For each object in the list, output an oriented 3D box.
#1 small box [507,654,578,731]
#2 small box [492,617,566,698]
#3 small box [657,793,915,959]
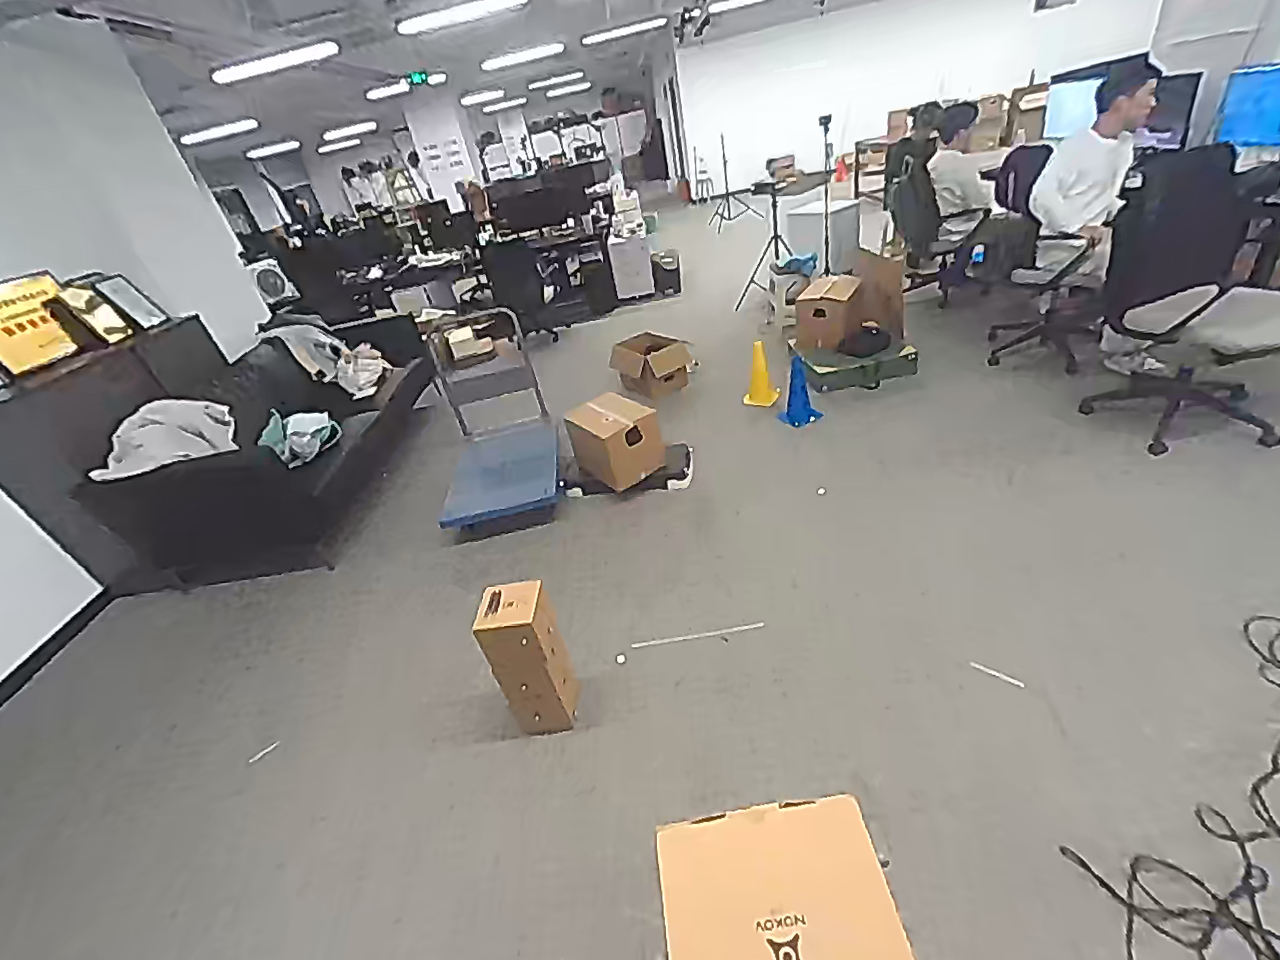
[{"bbox_3d":[-0.308,0.688,1.754,0.179,0.176,0.168,-10,33,6],"label":"small box"},{"bbox_3d":[-0.335,0.551,1.666,0.168,0.176,0.179,-9,33,6],"label":"small box"},{"bbox_3d":[0.114,0.381,0.422,0.168,0.176,0.179,-11,39,1],"label":"small box"}]
